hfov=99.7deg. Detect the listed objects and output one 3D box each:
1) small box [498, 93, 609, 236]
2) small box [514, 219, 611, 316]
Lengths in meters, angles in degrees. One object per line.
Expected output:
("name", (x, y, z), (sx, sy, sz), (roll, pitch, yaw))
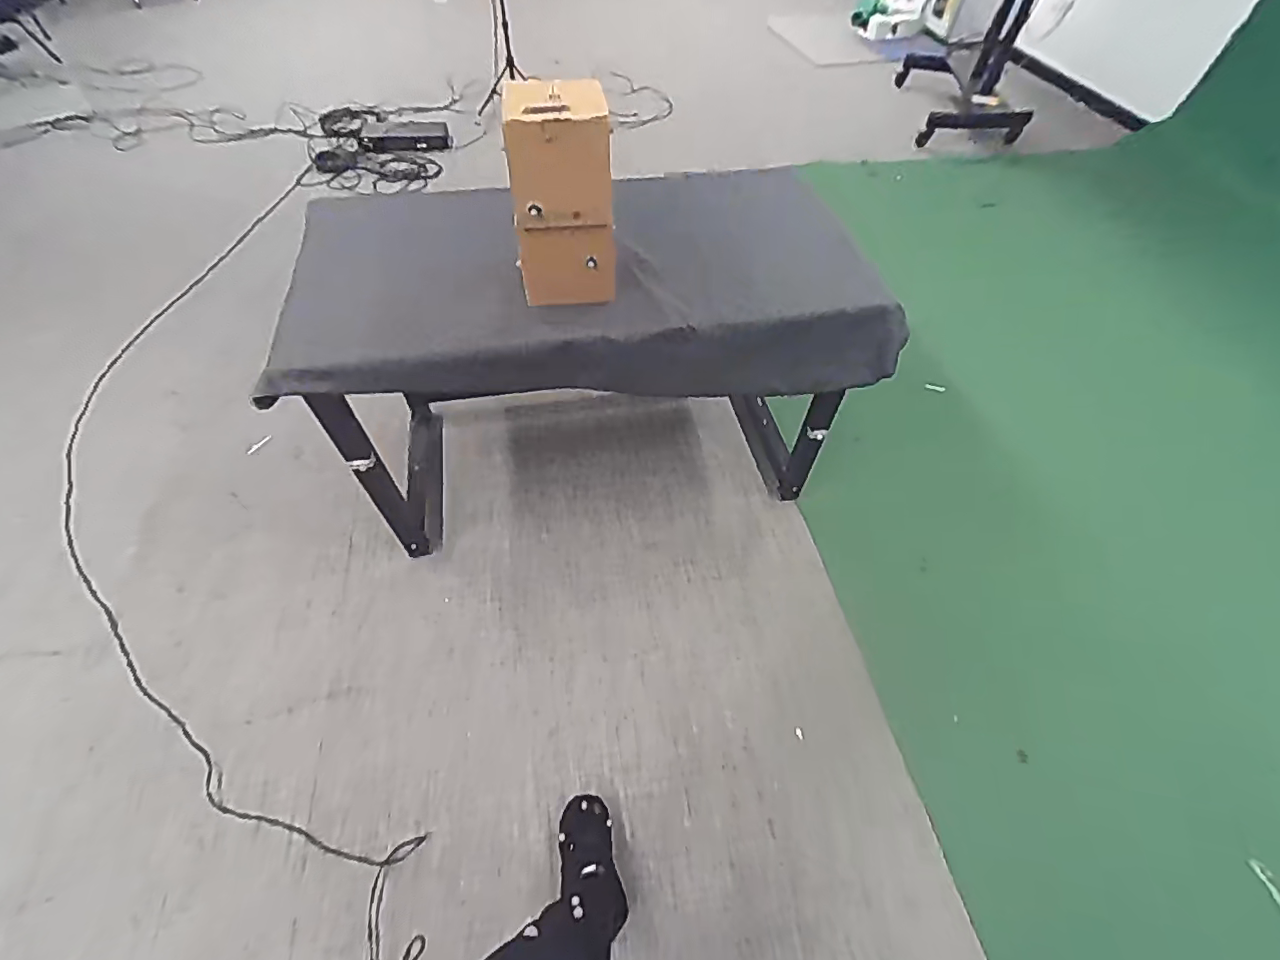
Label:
("small box", (-0.149, -0.545, 0.947), (0.168, 0.176, 0.179), (-8, 54, -8))
("small box", (-0.151, -0.449, 1.080), (0.179, 0.176, 0.168), (-7, 52, -5))
